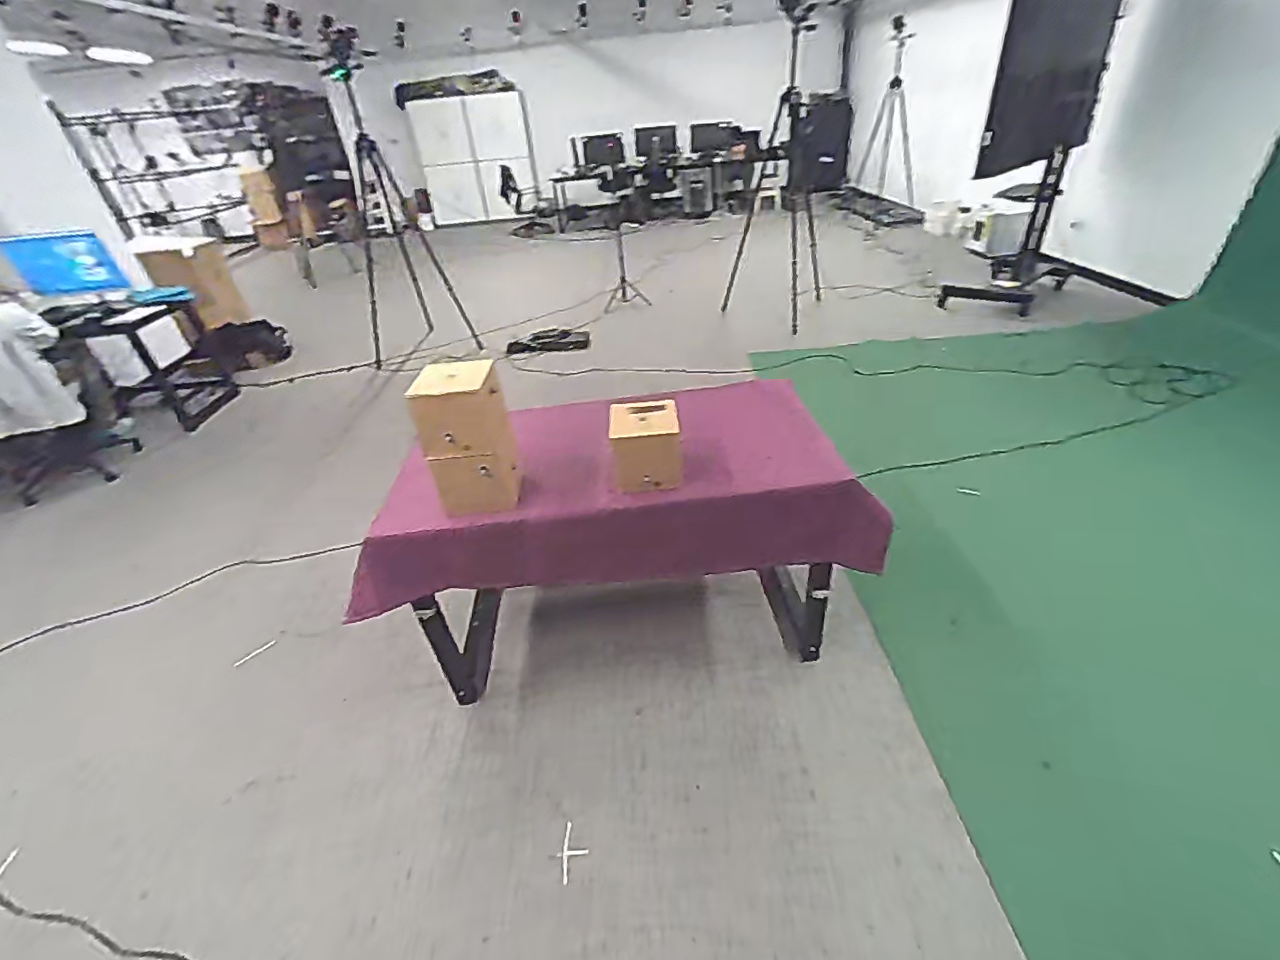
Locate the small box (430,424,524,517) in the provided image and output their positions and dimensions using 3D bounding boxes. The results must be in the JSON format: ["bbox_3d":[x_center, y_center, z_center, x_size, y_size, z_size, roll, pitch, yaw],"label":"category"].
[{"bbox_3d":[-0.403,-0.023,1.376,0.179,0.176,0.168,-6,34,1],"label":"small box"}]

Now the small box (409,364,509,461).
[{"bbox_3d":[-0.421,-0.162,1.292,0.168,0.176,0.179,-5,35,2],"label":"small box"}]
